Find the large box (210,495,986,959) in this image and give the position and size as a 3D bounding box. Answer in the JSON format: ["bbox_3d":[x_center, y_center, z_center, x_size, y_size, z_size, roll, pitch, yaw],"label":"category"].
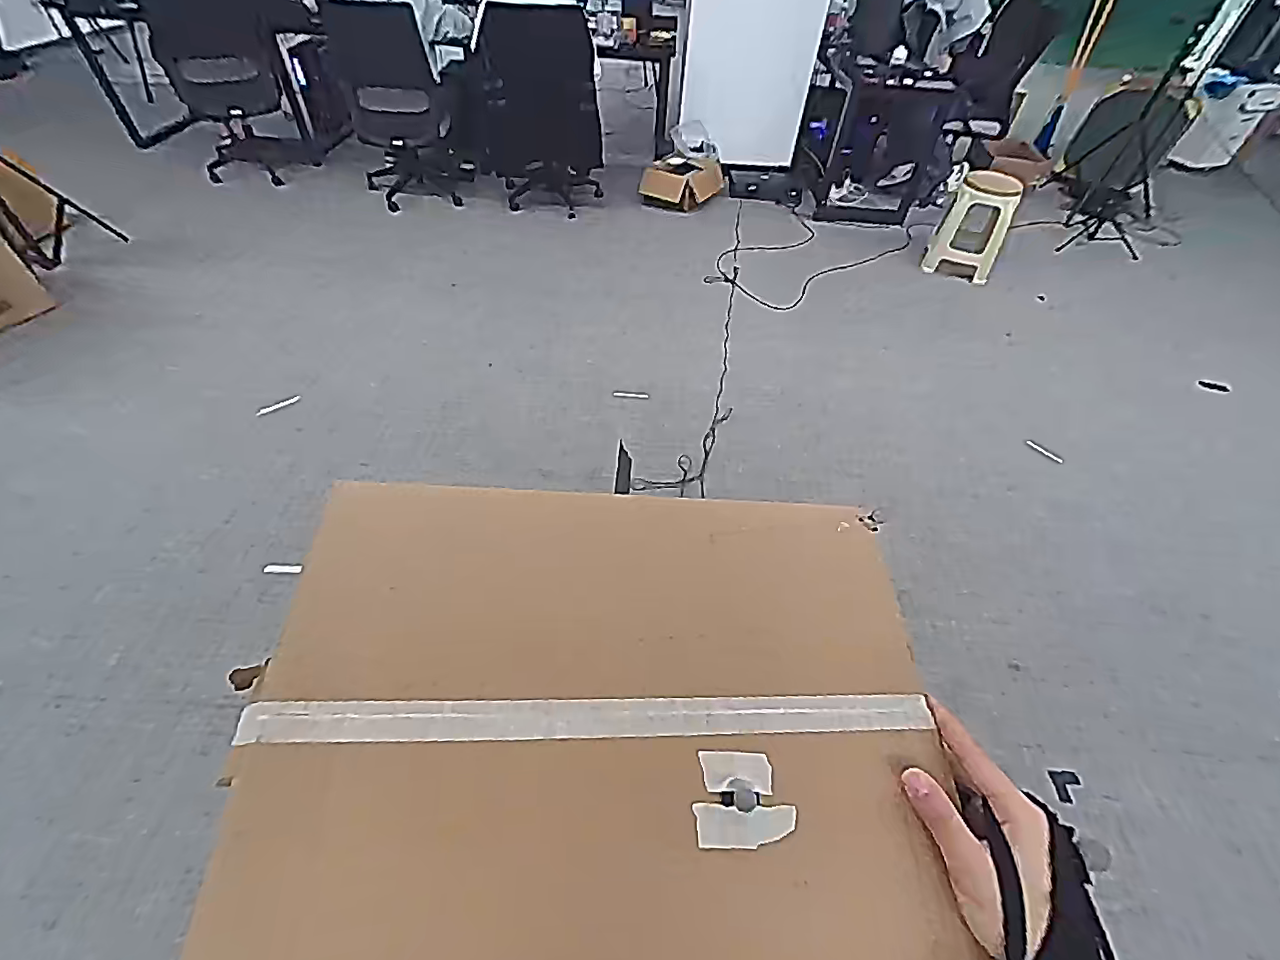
[{"bbox_3d":[-0.035,0.228,0.460,0.408,0.320,0.320,3,57,-9],"label":"large box"}]
